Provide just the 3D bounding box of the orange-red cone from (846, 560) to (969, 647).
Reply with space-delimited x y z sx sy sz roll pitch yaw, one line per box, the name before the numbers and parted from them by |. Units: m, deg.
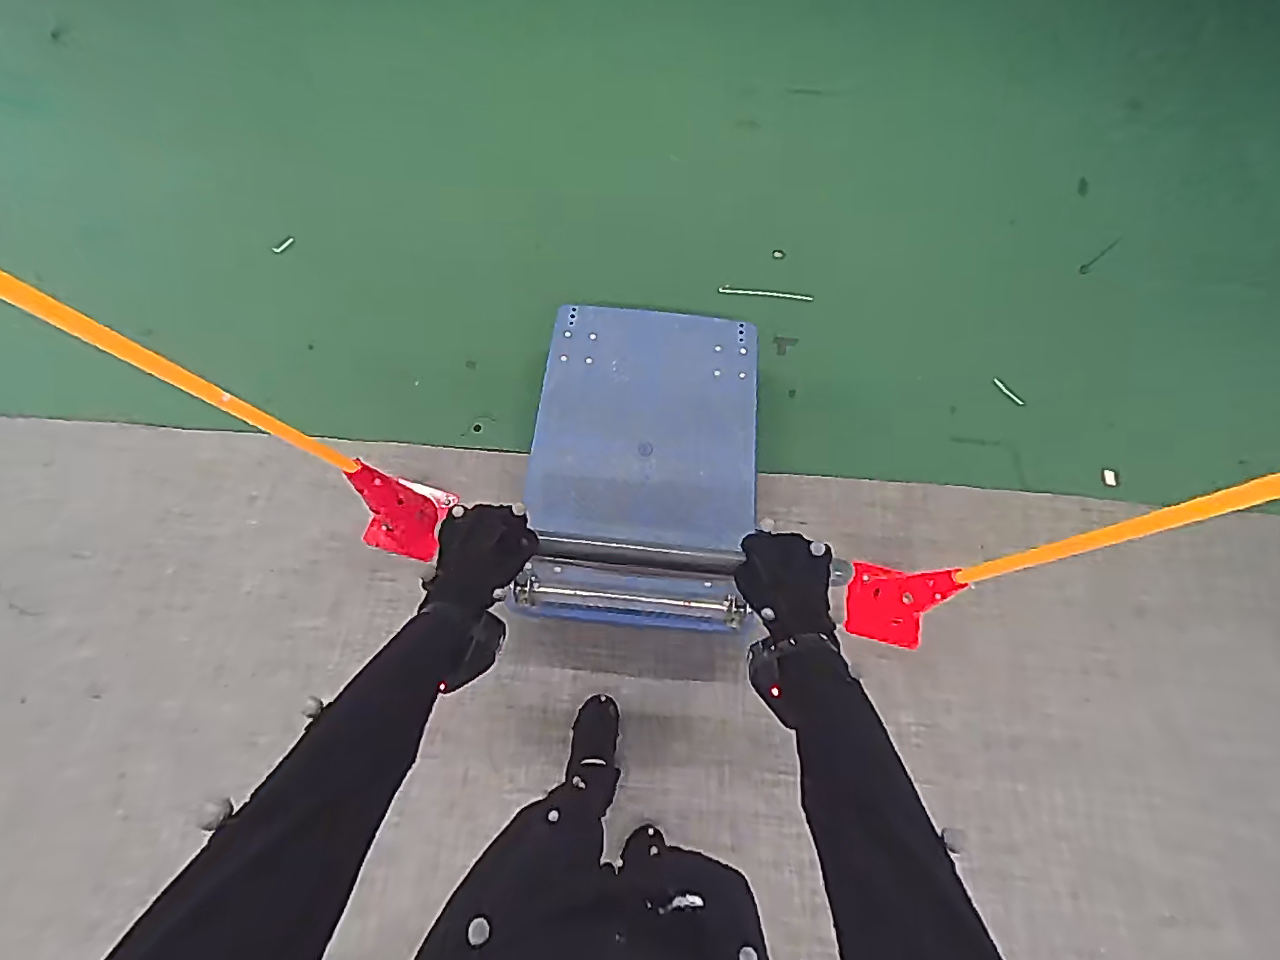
orange-red cone | 0.654 0.261 1.268 0.198 0.360 0.199 14 70 4
